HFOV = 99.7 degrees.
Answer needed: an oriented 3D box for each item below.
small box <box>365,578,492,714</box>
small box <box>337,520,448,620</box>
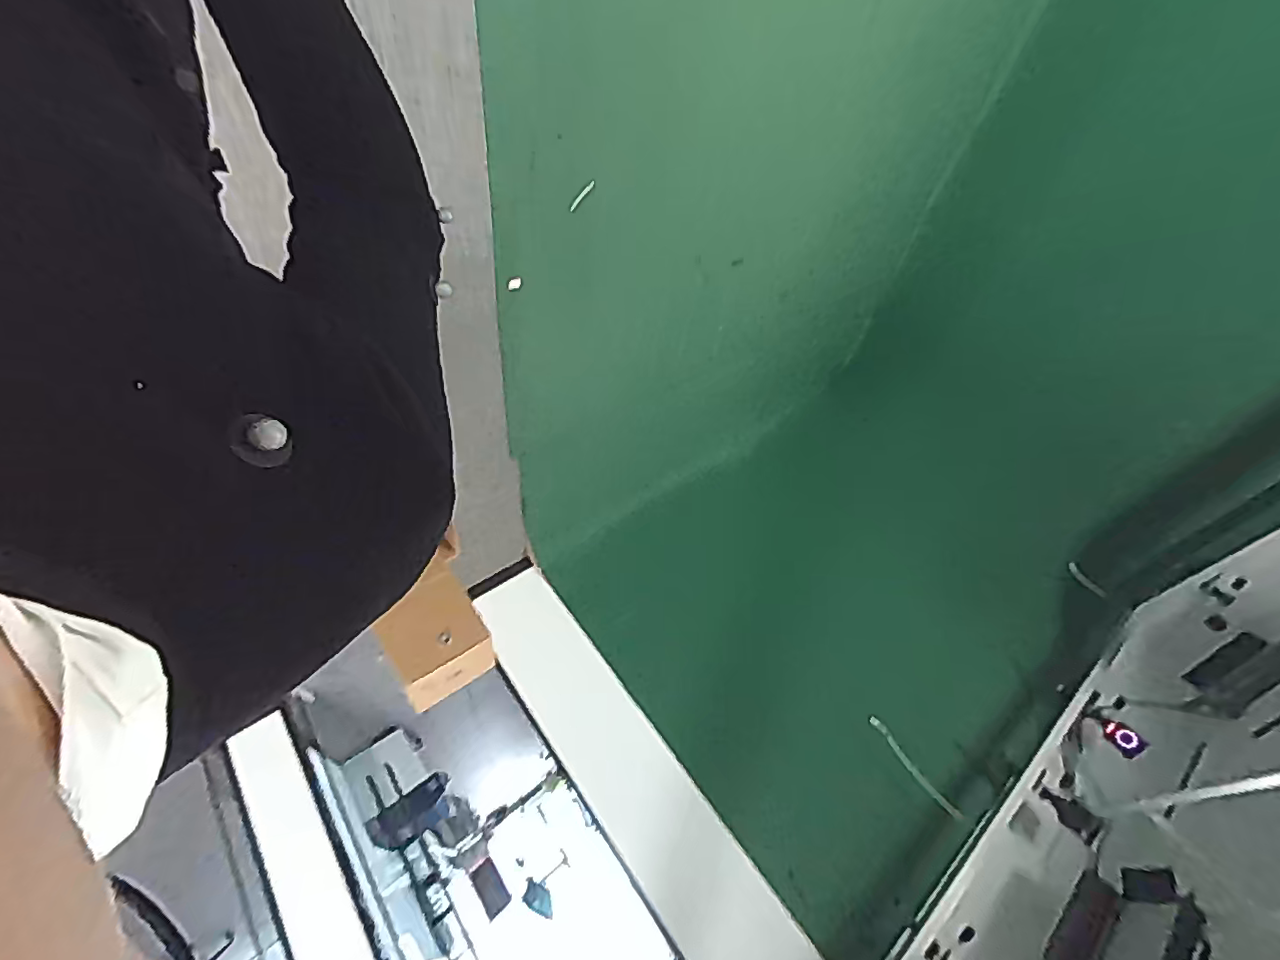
[{"bbox_3d":[-0.417,0.327,1.085,0.179,0.176,0.168,-27,151,-29],"label":"small box"},{"bbox_3d":[-0.517,0.218,1.157,0.168,0.176,0.179,-26,151,-29],"label":"small box"}]
